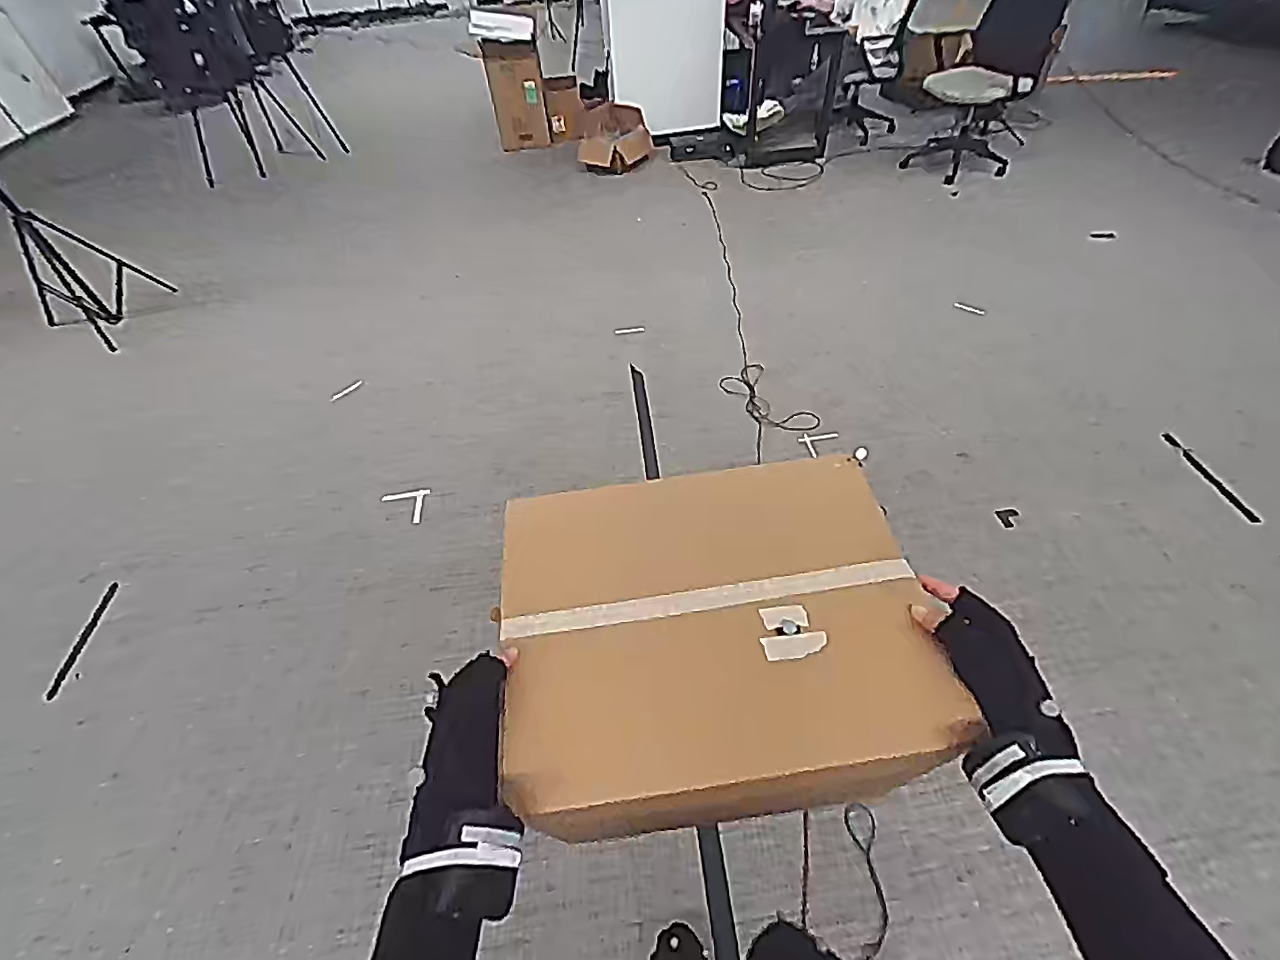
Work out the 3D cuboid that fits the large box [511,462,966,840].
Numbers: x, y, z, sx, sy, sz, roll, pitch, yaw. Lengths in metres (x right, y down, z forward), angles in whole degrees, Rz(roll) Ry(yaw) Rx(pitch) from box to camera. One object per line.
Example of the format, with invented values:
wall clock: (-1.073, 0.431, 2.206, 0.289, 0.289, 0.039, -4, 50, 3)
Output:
large box: (0.075, 0.216, 0.664, 0.408, 0.320, 0.320, -8, 53, -2)
